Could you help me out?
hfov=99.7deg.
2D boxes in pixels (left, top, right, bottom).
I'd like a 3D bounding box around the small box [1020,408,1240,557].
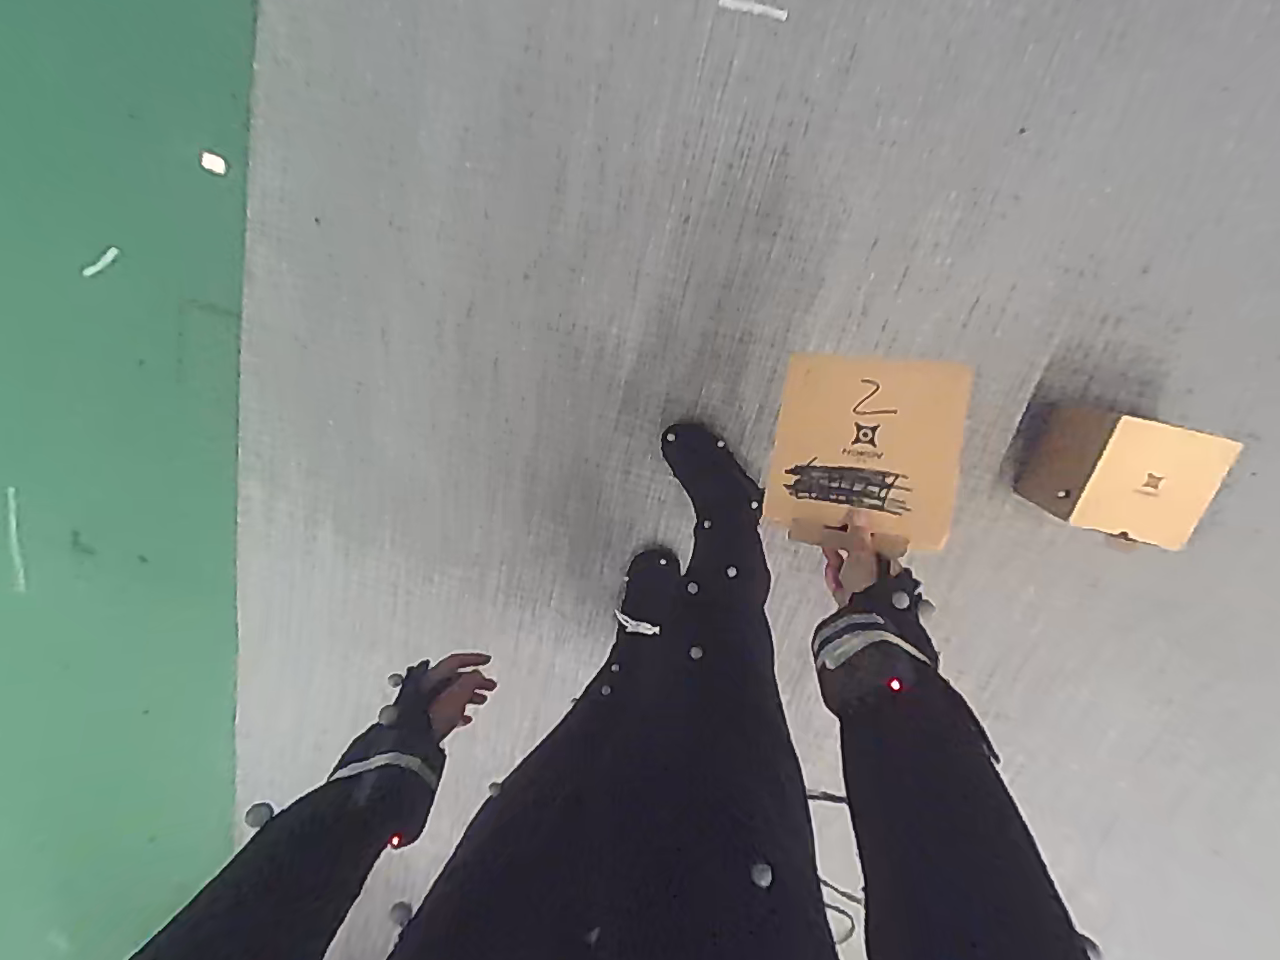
[{"bbox_3d":[0.755,-0.007,0.862,0.168,0.176,0.179,15,108,5],"label":"small box"}]
